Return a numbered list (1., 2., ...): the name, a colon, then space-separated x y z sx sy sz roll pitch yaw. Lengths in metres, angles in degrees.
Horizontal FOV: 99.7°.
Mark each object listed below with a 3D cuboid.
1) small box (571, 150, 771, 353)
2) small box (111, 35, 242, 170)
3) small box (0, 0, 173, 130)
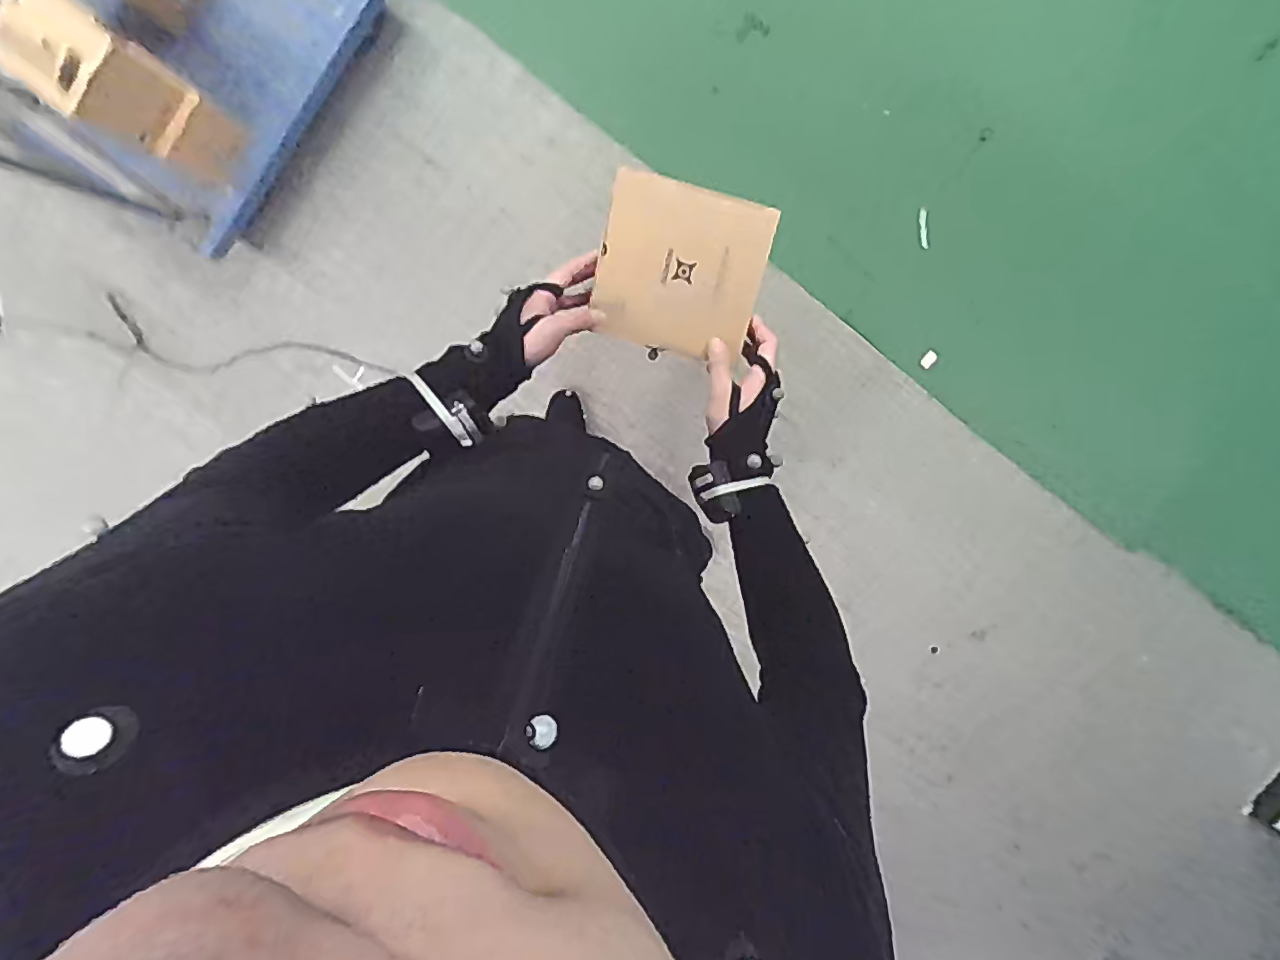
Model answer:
1. small box: 0.028 -0.251 0.637 0.179 0.176 0.168 13 104 -6
2. small box: -1.068 -0.840 1.225 0.179 0.176 0.168 -22 100 3
3. small box: -1.083 -0.828 1.052 0.179 0.176 0.168 38 95 -5
